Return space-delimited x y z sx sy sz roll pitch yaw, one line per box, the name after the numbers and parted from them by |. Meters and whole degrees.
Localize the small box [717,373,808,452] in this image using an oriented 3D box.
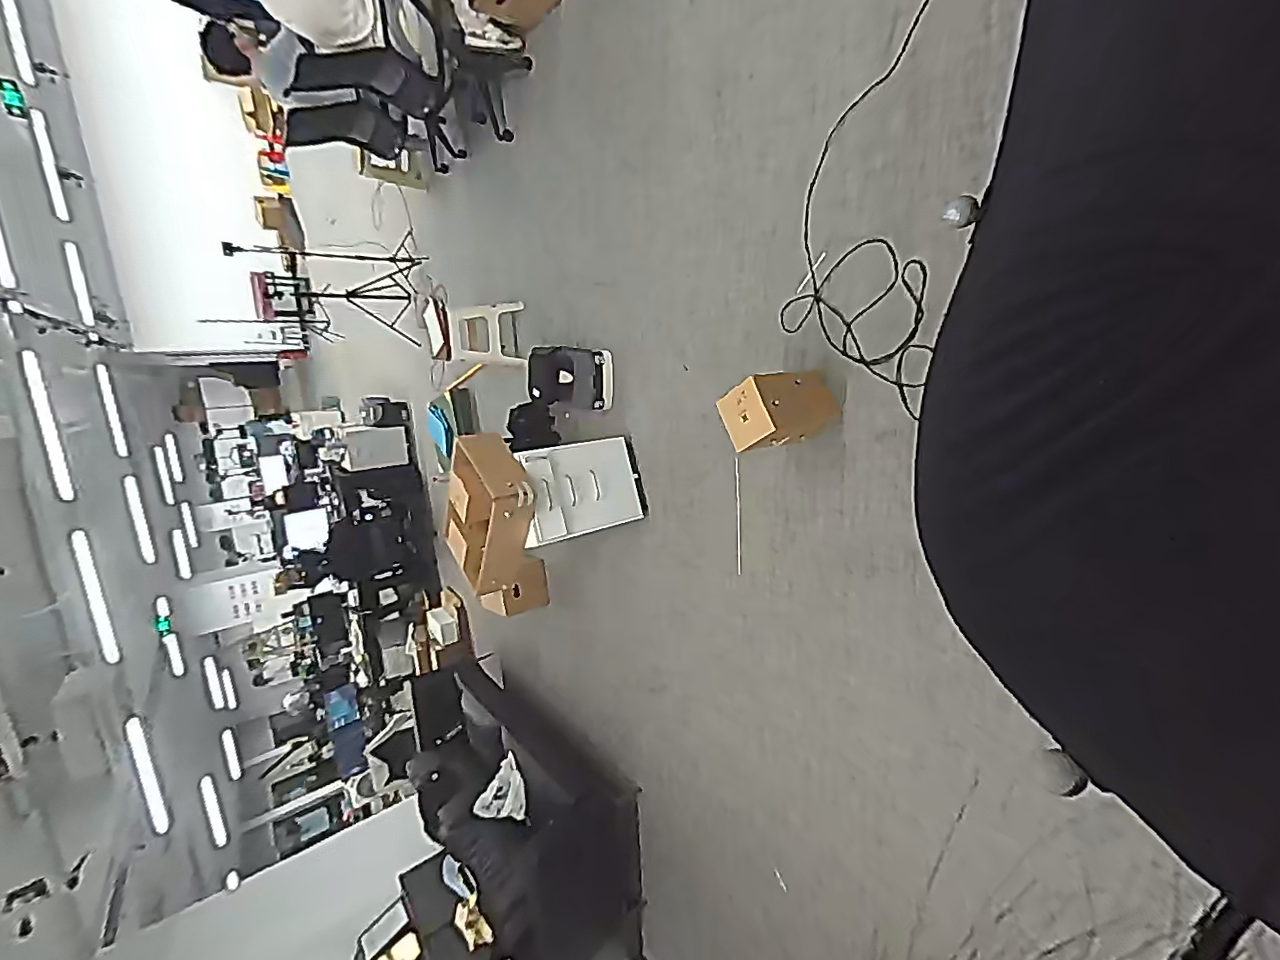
0.367 -0.204 1.612 0.168 0.176 0.179 -35 72 51 | small box

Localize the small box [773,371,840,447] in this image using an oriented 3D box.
0.496 -0.230 1.712 0.168 0.176 0.179 -44 65 49 | small box
